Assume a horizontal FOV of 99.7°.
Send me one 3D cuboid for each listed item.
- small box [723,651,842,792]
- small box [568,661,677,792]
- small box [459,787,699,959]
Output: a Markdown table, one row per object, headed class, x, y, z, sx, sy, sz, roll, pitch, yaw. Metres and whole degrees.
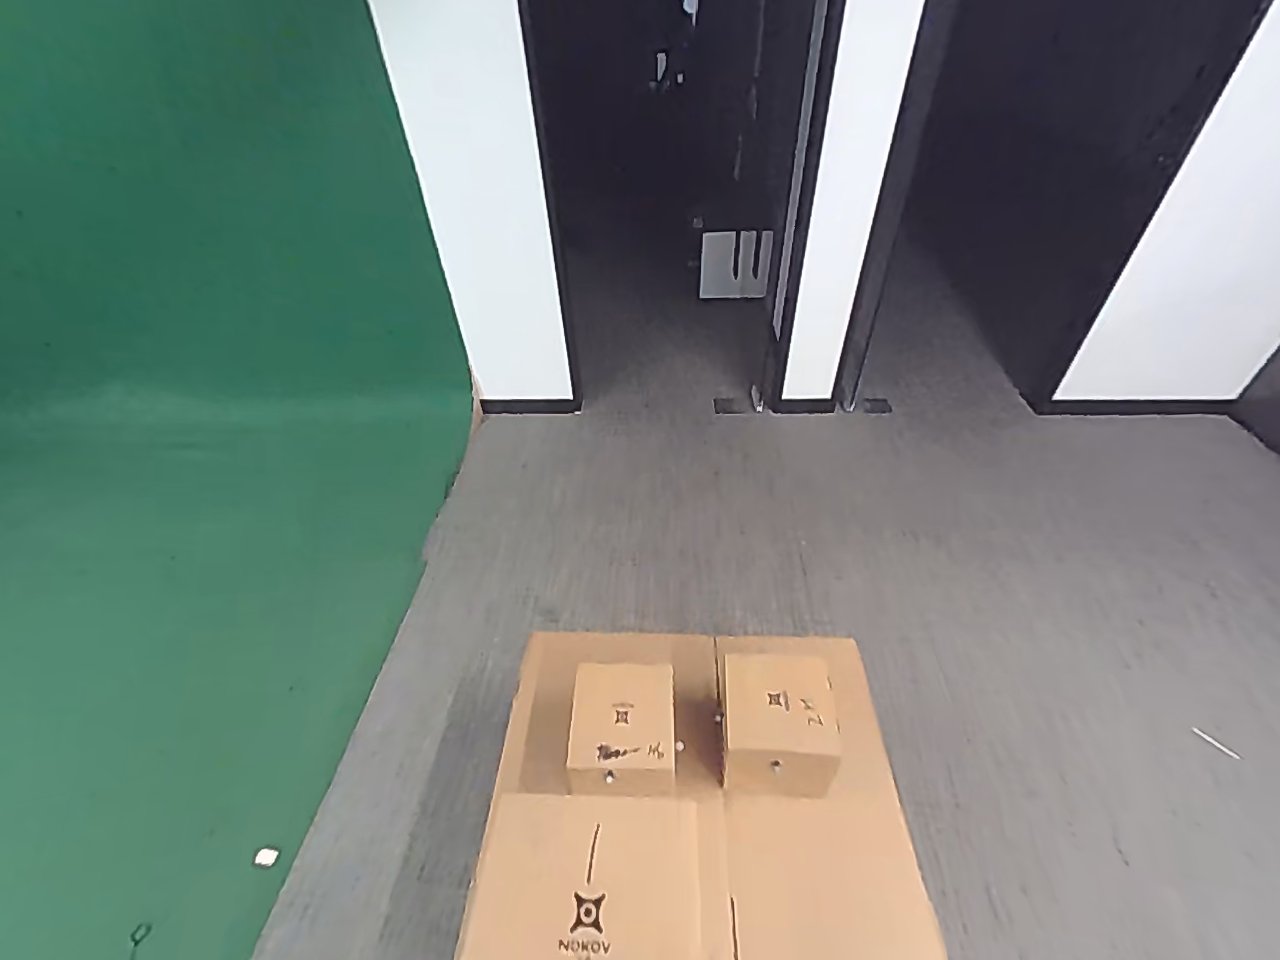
| class | x | y | z | sx | sy | sz | roll | pitch | yaw |
| --- | --- | --- | --- | --- | --- | --- | --- | --- | --- |
| small box | 0.232 | 0.415 | 0.927 | 0.179 | 0.176 | 0.168 | 1 | 41 | 7 |
| small box | -0.021 | 0.432 | 0.923 | 0.168 | 0.176 | 0.179 | -1 | 40 | 3 |
| small box | -0.036 | 0.376 | 0.432 | 0.168 | 0.176 | 0.179 | 0 | 36 | 4 |
